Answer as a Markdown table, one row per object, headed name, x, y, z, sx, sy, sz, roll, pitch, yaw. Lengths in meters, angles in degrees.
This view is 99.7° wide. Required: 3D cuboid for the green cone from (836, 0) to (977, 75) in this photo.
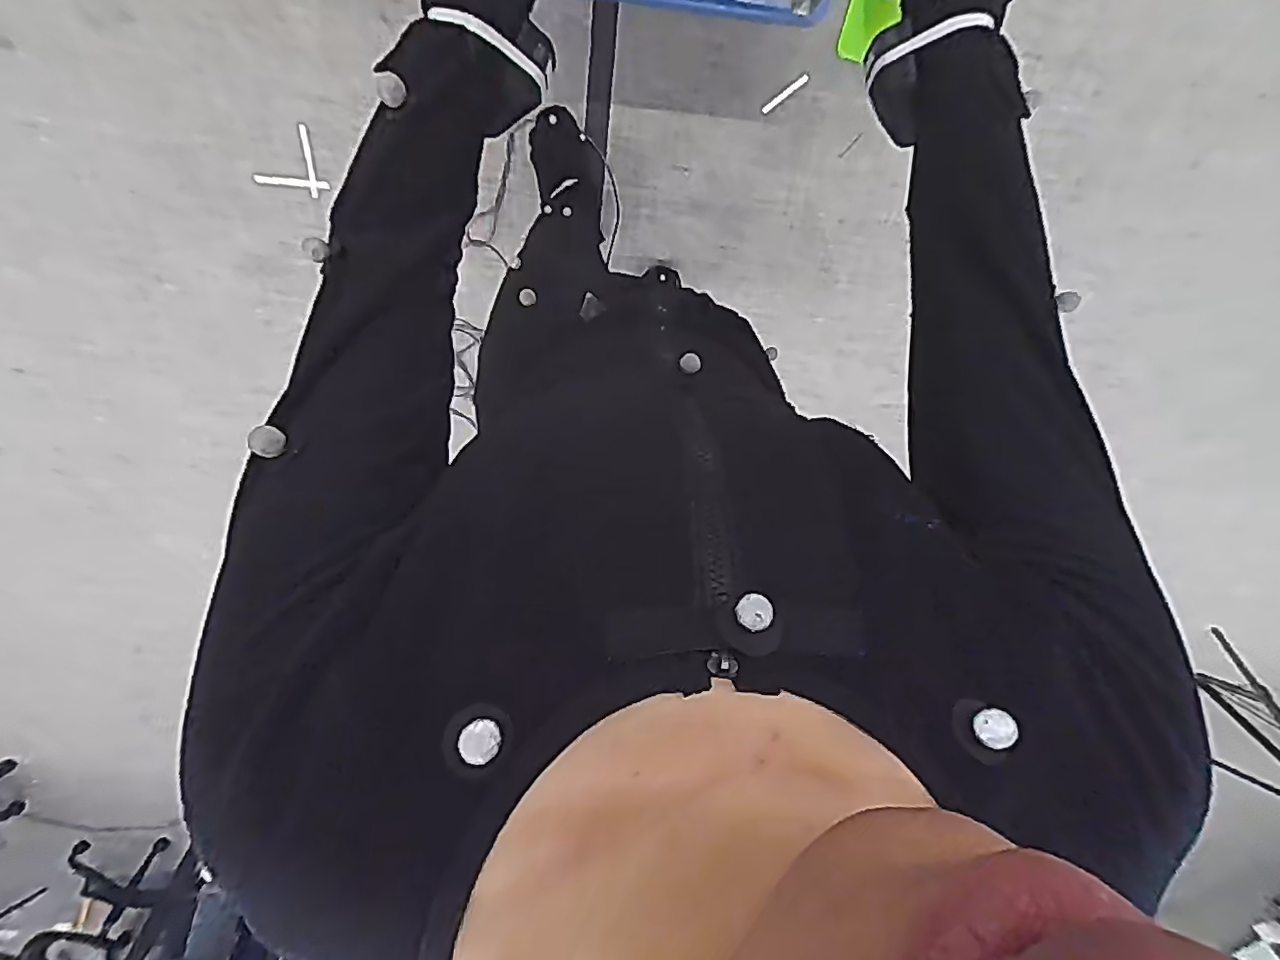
| name | x | y | z | sx | sy | sz | roll | pitch | yaw |
| --- | --- | --- | --- | --- | --- | --- | --- | --- | --- |
| green cone | 0.521 | -0.847 | 0.928 | 0.202 | 0.368 | 0.200 | 6 | 123 | -10 |
